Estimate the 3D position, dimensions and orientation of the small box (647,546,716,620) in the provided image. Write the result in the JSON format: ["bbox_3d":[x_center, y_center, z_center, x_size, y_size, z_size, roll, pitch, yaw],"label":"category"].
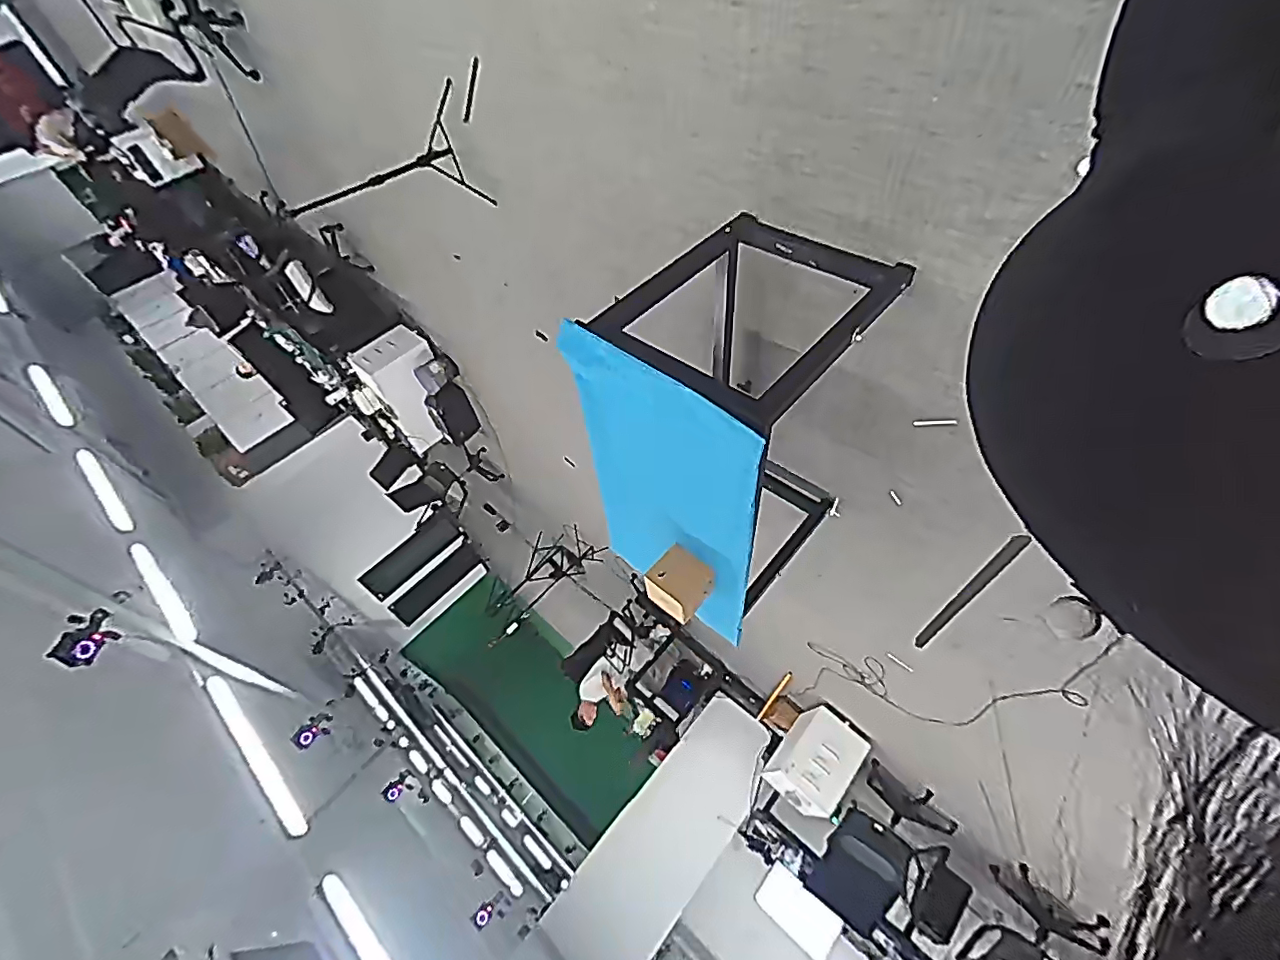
[{"bbox_3d":[0.146,0.358,1.922,0.179,0.176,0.168,33,154,24],"label":"small box"}]
